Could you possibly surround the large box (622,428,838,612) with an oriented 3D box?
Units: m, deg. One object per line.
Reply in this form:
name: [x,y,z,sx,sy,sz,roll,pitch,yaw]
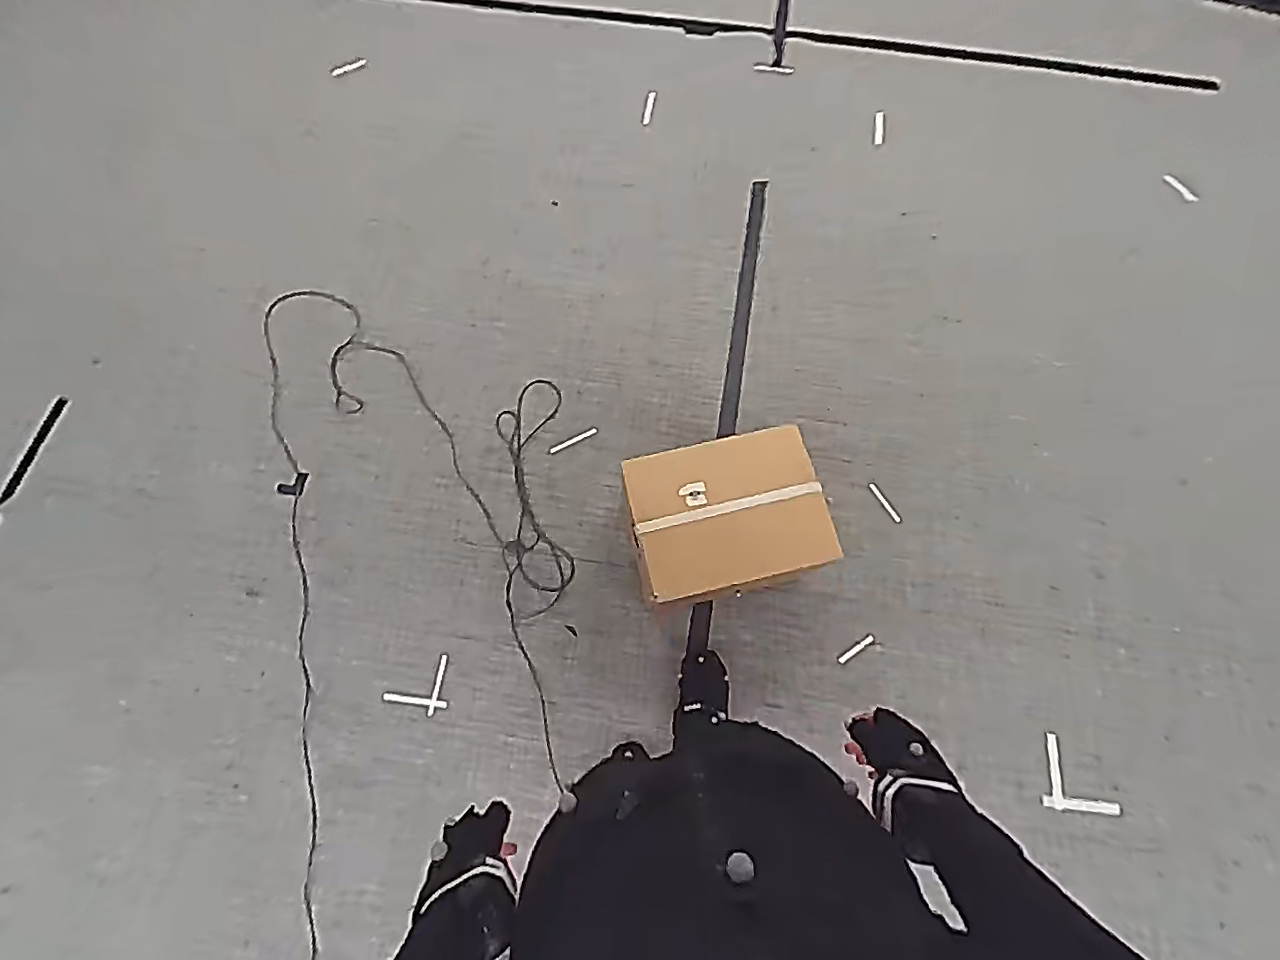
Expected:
large box: [0.187,0.112,1.290,0.408,0.320,0.320,-13,72,-4]
